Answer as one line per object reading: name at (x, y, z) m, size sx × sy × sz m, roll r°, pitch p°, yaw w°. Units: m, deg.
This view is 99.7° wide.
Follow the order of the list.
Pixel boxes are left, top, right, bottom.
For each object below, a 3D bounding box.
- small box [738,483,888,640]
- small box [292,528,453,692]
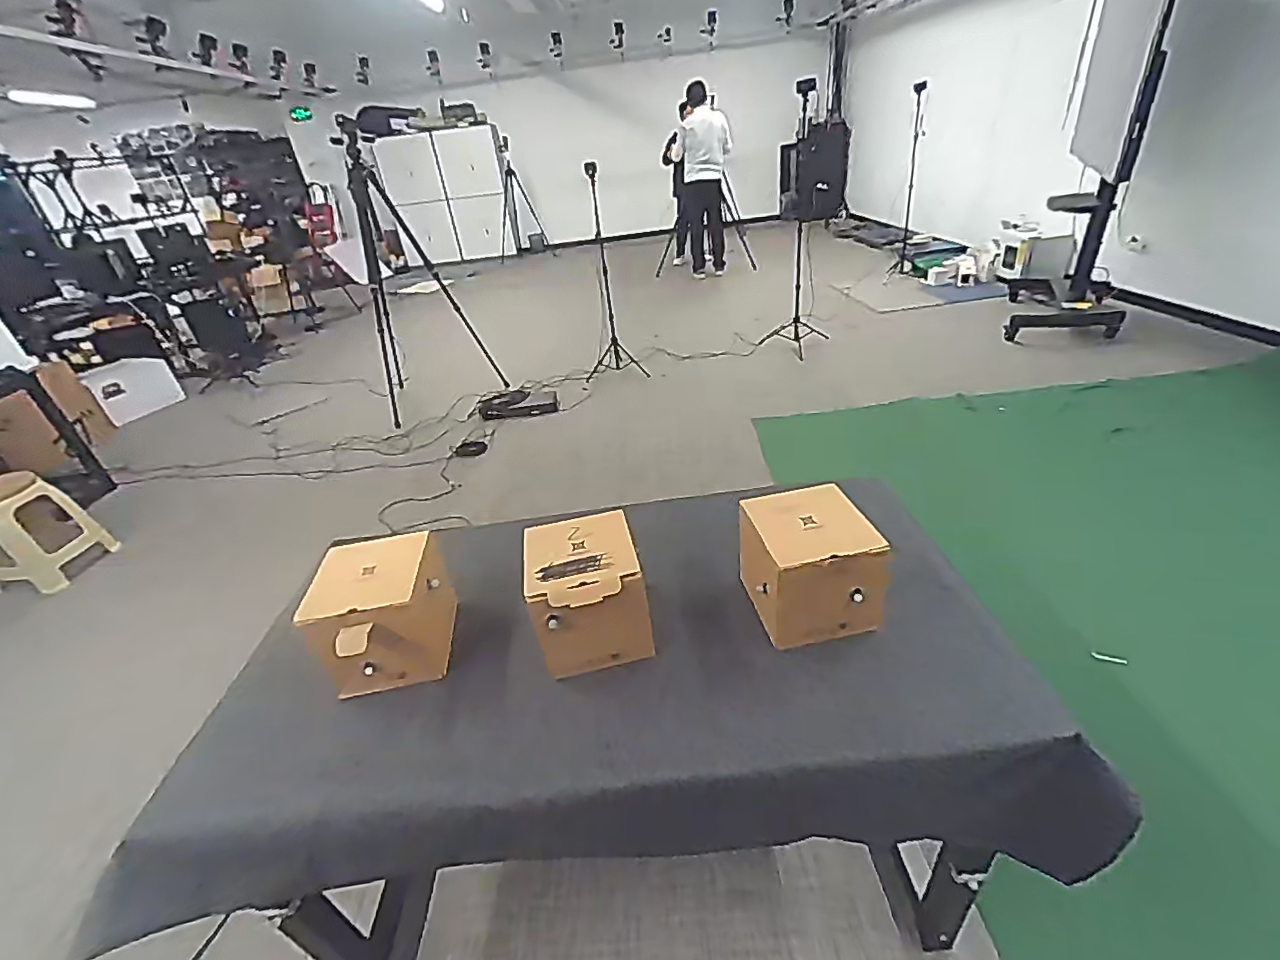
small box at (0.260, 0.130, 0.849) m, size 0.168 × 0.176 × 0.179 m, roll -9°, pitch 30°, yaw -5°
small box at (-0.409, 0.204, 0.865) m, size 0.168 × 0.176 × 0.179 m, roll -10°, pitch 32°, yaw -5°
